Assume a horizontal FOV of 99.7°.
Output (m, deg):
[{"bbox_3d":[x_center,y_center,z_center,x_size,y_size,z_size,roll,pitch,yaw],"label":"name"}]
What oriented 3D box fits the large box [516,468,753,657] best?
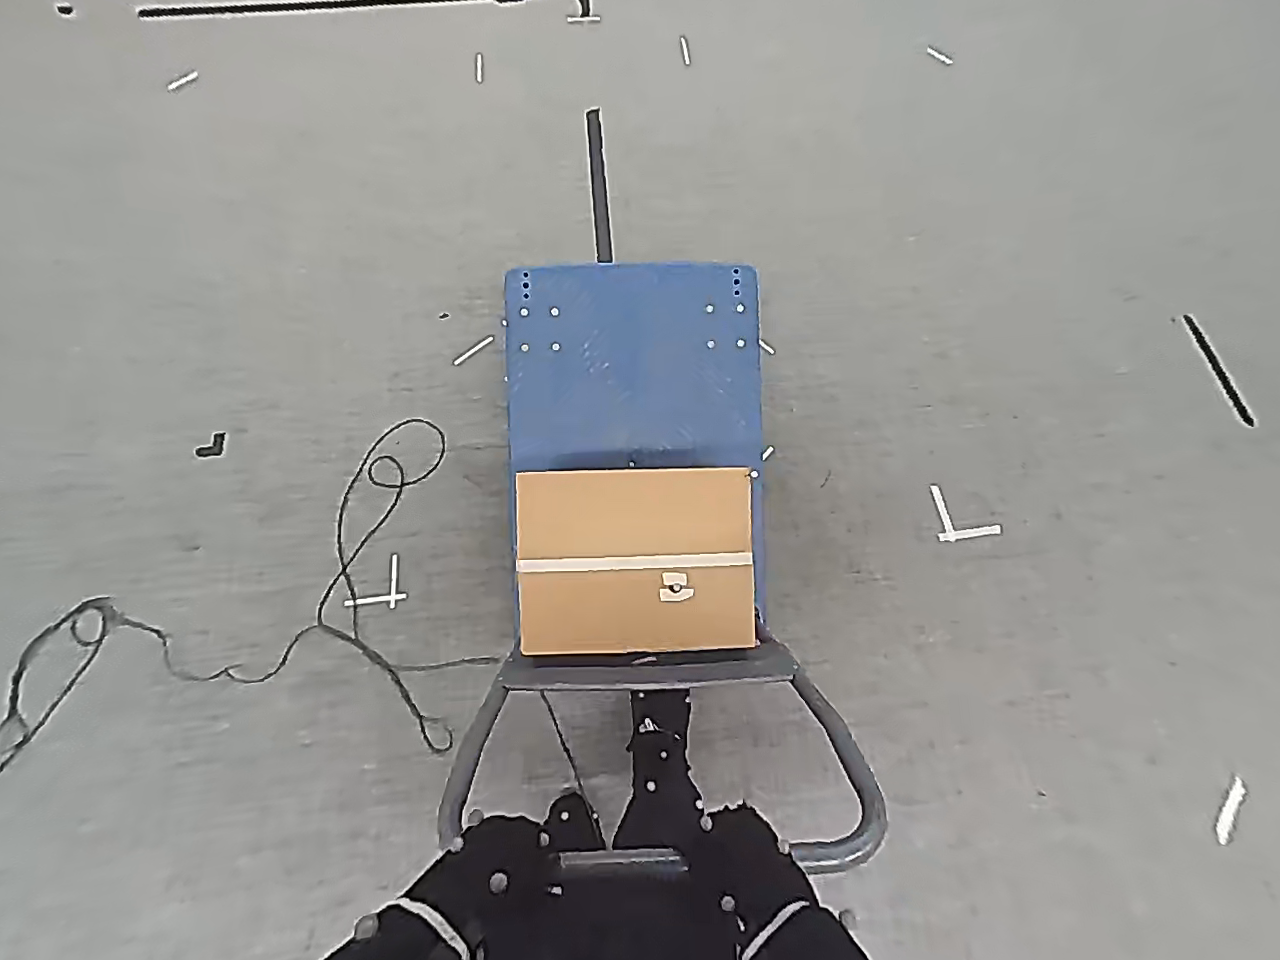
[{"bbox_3d":[-0.016,0.141,1.072,0.408,0.320,0.320,-1,91,-3],"label":"large box"}]
